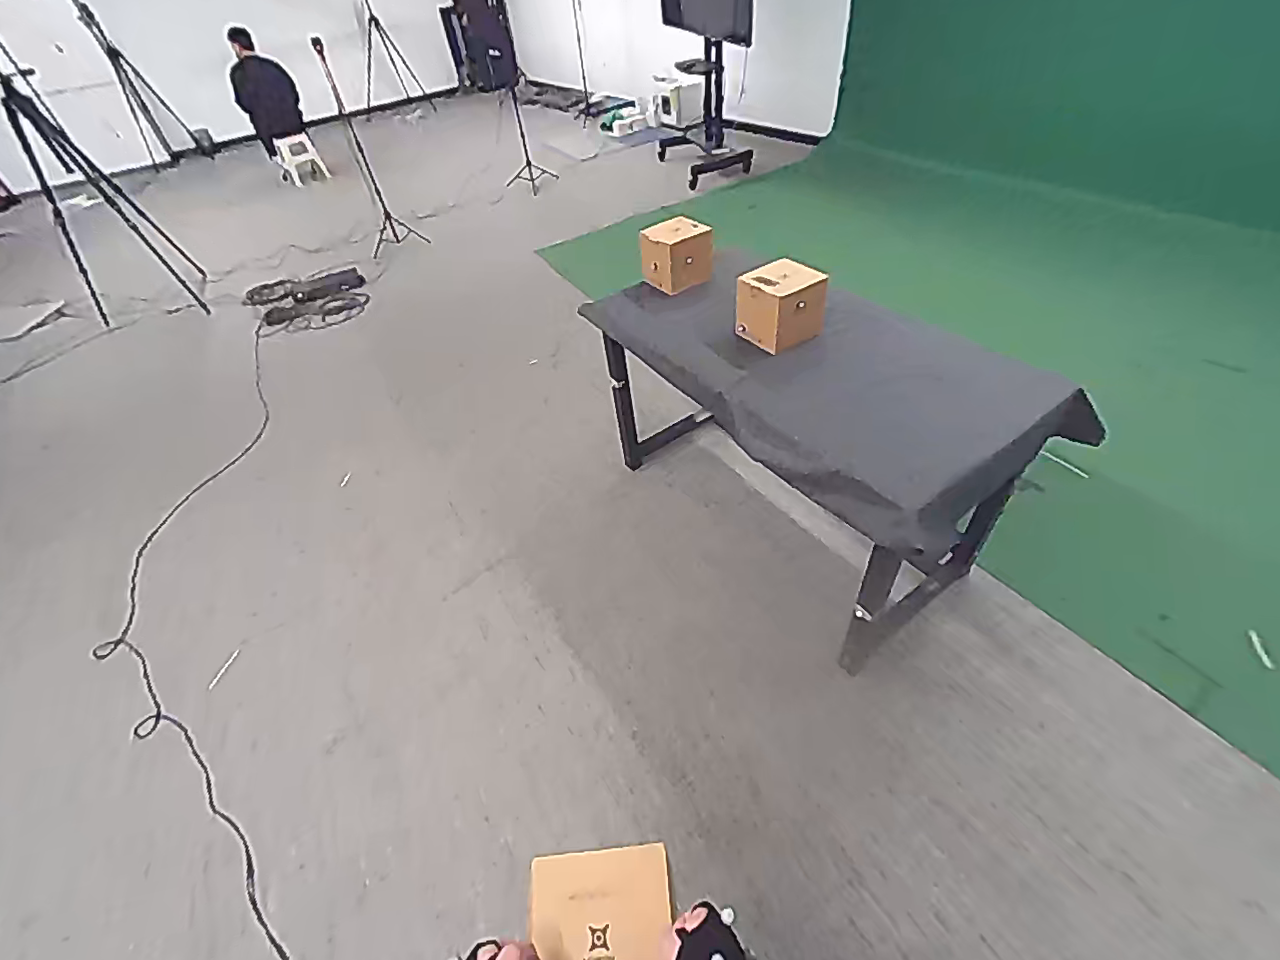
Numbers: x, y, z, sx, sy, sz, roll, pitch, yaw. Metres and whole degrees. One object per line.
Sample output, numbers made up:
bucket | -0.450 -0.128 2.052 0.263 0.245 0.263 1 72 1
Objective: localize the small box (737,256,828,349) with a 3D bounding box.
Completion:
small box | 0.384 -0.482 1.478 0.179 0.176 0.168 -28 48 -19

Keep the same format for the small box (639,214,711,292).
small box | 0.121 -0.743 1.775 0.179 0.176 0.168 -30 50 -19
